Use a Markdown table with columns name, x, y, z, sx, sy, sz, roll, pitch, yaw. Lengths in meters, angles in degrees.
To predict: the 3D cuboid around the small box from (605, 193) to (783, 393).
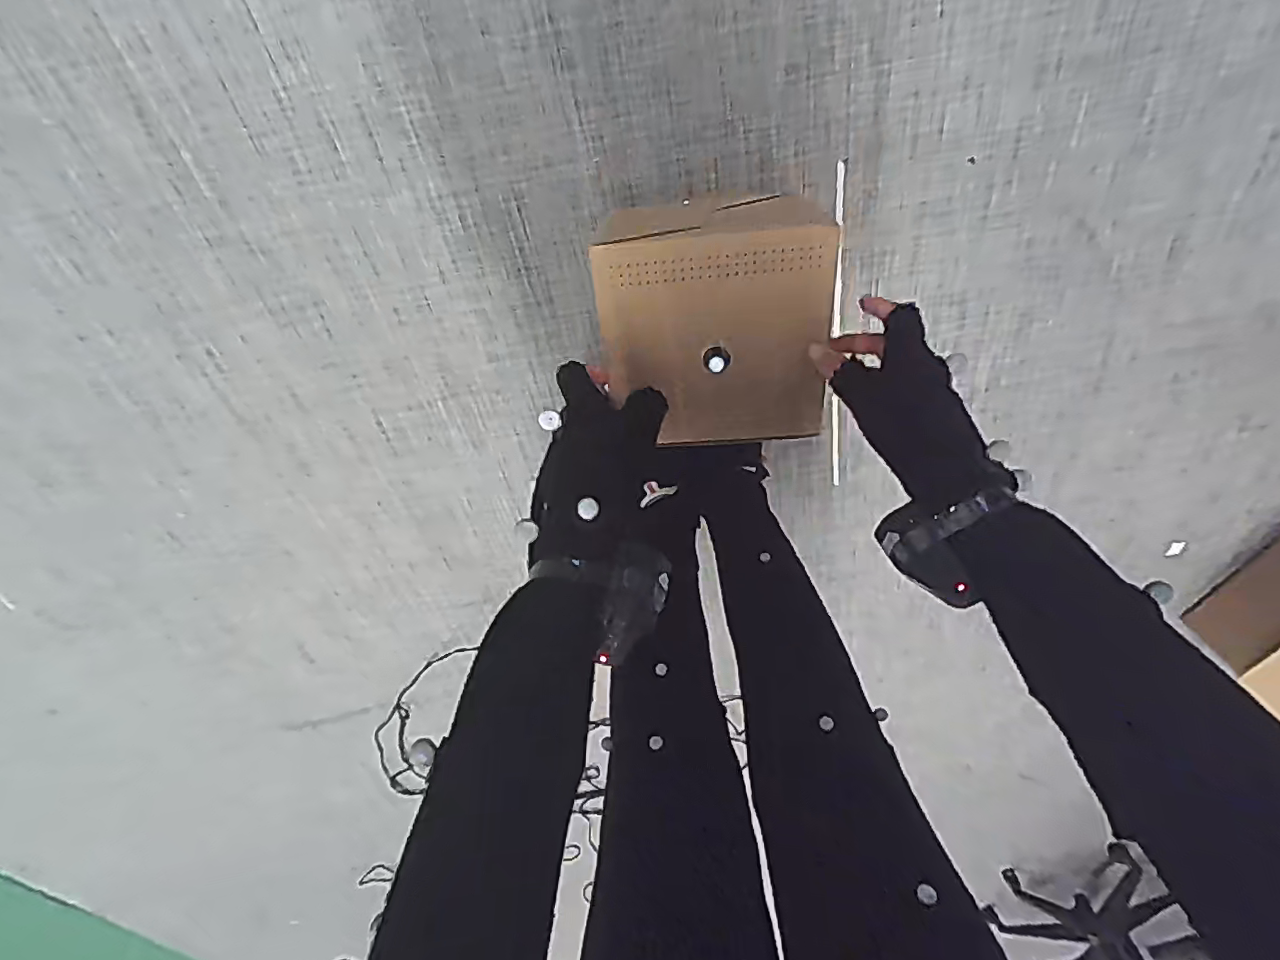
| name | x | y | z | sx | sy | sz | roll | pitch | yaw |
| --- | --- | --- | --- | --- | --- | --- | --- | --- | --- |
| small box | 0.060 | -0.226 | 0.639 | 0.179 | 0.176 | 0.168 | -10 | 124 | 5 |
